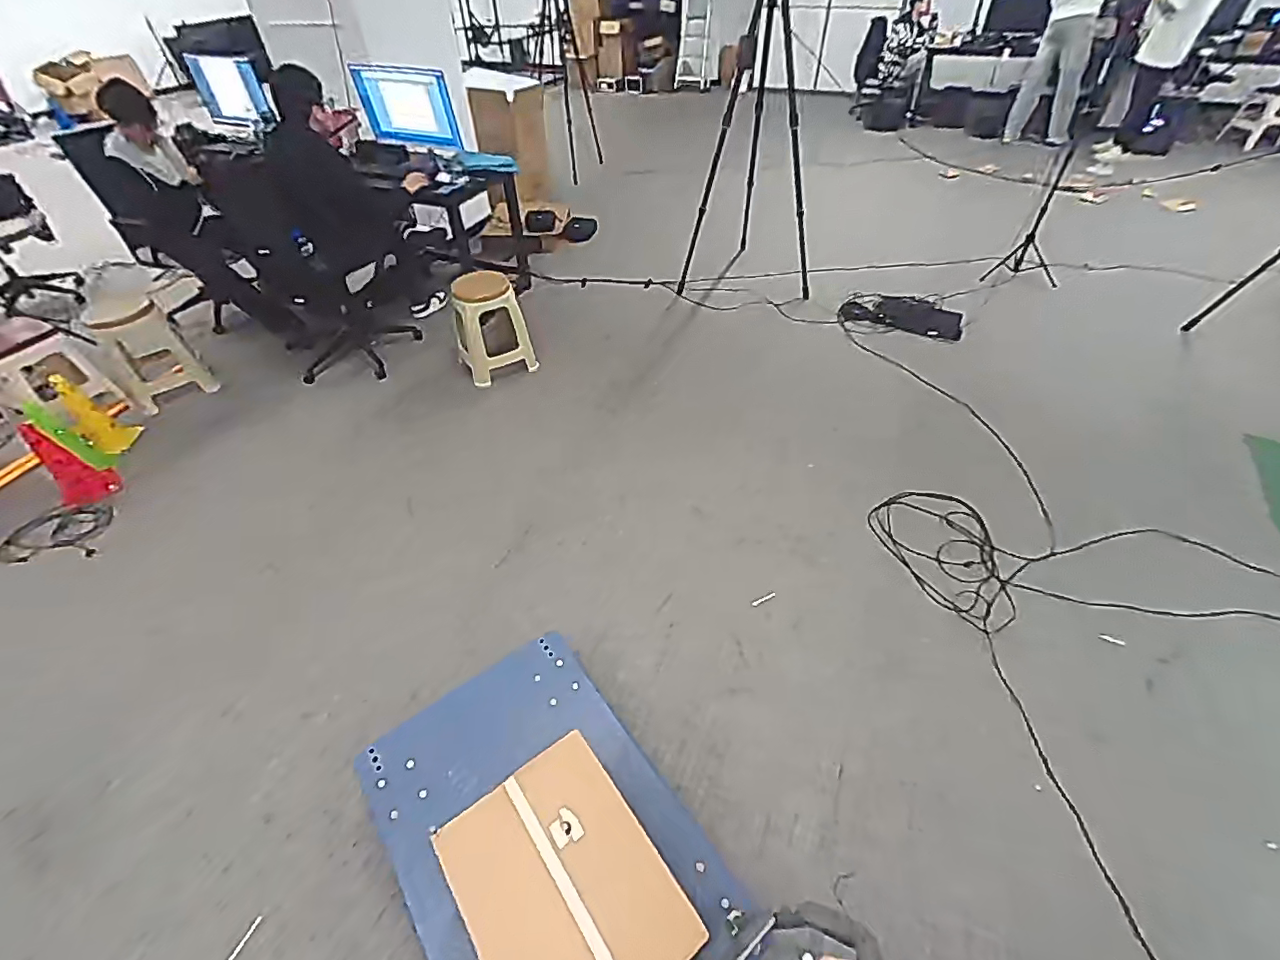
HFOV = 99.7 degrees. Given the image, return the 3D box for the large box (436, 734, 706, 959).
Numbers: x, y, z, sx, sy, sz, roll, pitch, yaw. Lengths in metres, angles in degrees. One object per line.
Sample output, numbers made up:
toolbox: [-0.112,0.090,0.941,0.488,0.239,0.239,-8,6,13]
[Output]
large box: [-0.127,0.795,1.038,0.320,0.320,0.408,-28,53,-25]
